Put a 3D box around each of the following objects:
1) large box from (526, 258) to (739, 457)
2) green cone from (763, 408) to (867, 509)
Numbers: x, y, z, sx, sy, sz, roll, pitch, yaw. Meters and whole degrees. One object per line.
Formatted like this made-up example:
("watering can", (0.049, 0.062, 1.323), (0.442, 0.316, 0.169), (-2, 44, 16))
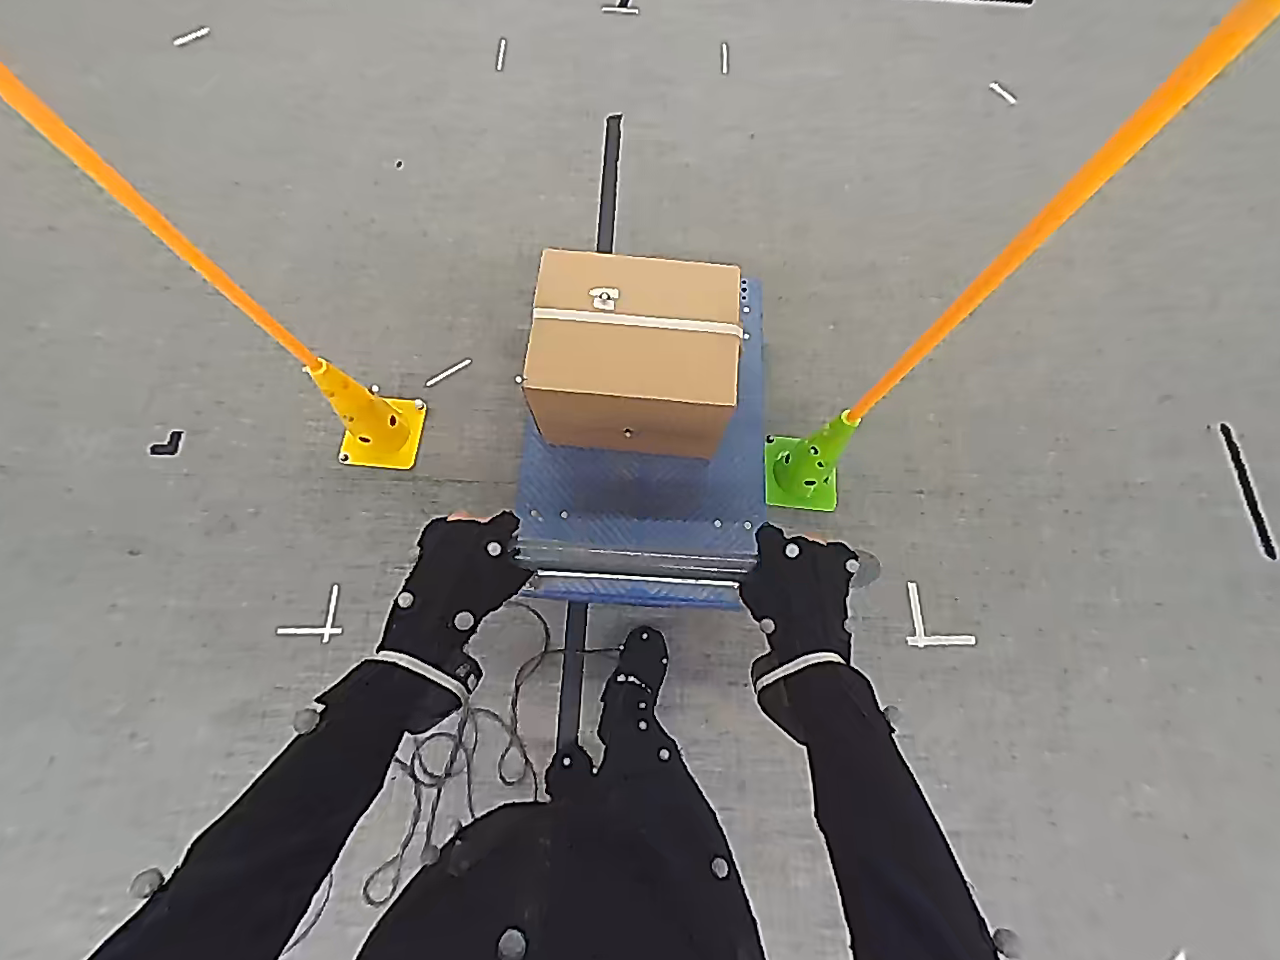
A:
("large box", (-0.007, -0.251, 1.201), (0.408, 0.320, 0.320), (5, 73, 1))
("green cone", (0.446, -0.076, 1.311), (0.202, 0.368, 0.200), (7, 72, -1))
